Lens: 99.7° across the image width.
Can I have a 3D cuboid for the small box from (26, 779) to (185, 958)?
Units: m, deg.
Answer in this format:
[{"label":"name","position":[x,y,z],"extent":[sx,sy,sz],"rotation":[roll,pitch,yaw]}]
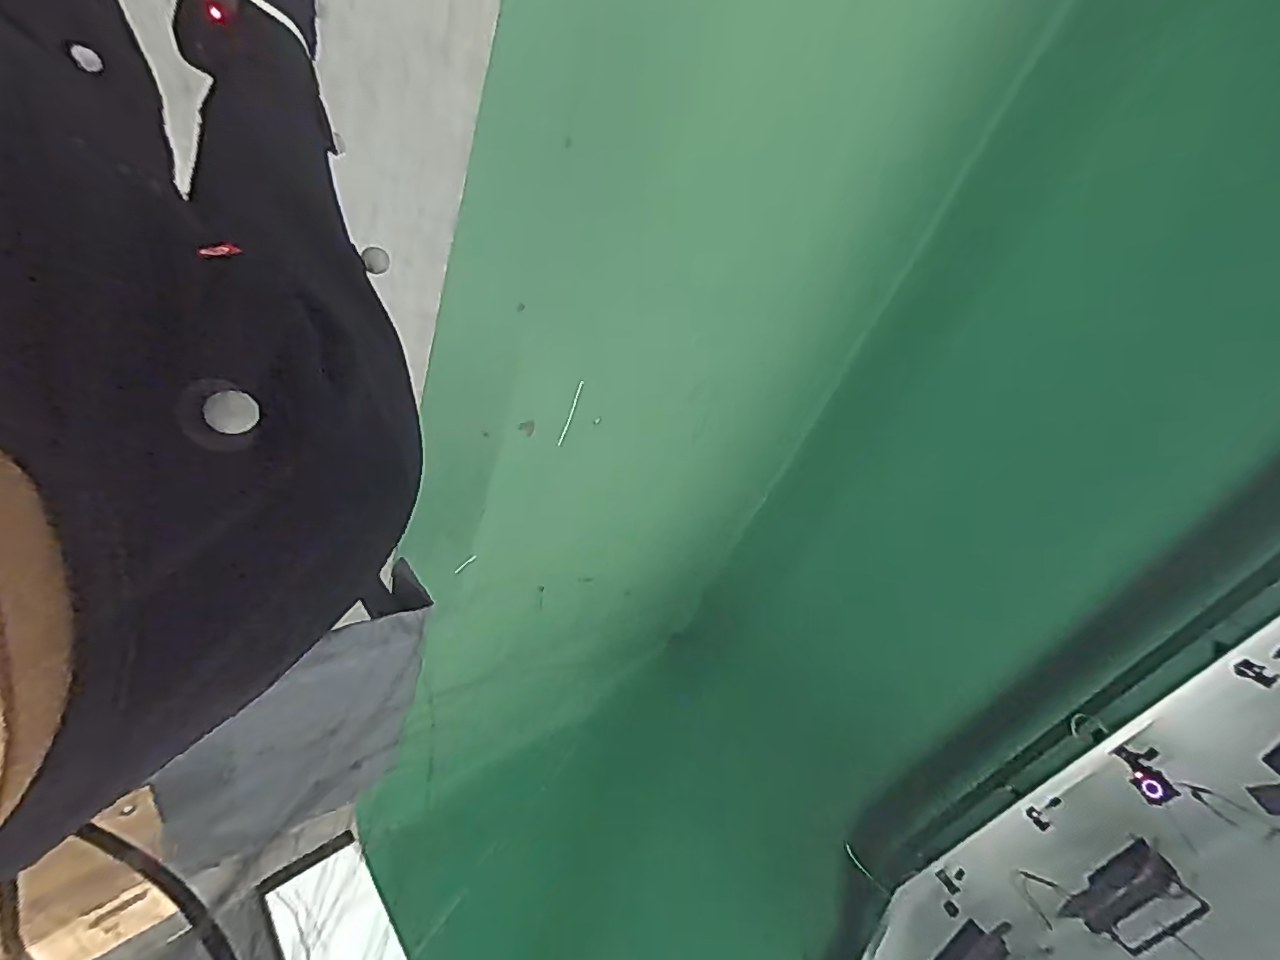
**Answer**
[{"label":"small box","position":[-0.928,0.664,0.945],"extent":[0.168,0.176,0.179],"rotation":[-14,138,-43]}]
